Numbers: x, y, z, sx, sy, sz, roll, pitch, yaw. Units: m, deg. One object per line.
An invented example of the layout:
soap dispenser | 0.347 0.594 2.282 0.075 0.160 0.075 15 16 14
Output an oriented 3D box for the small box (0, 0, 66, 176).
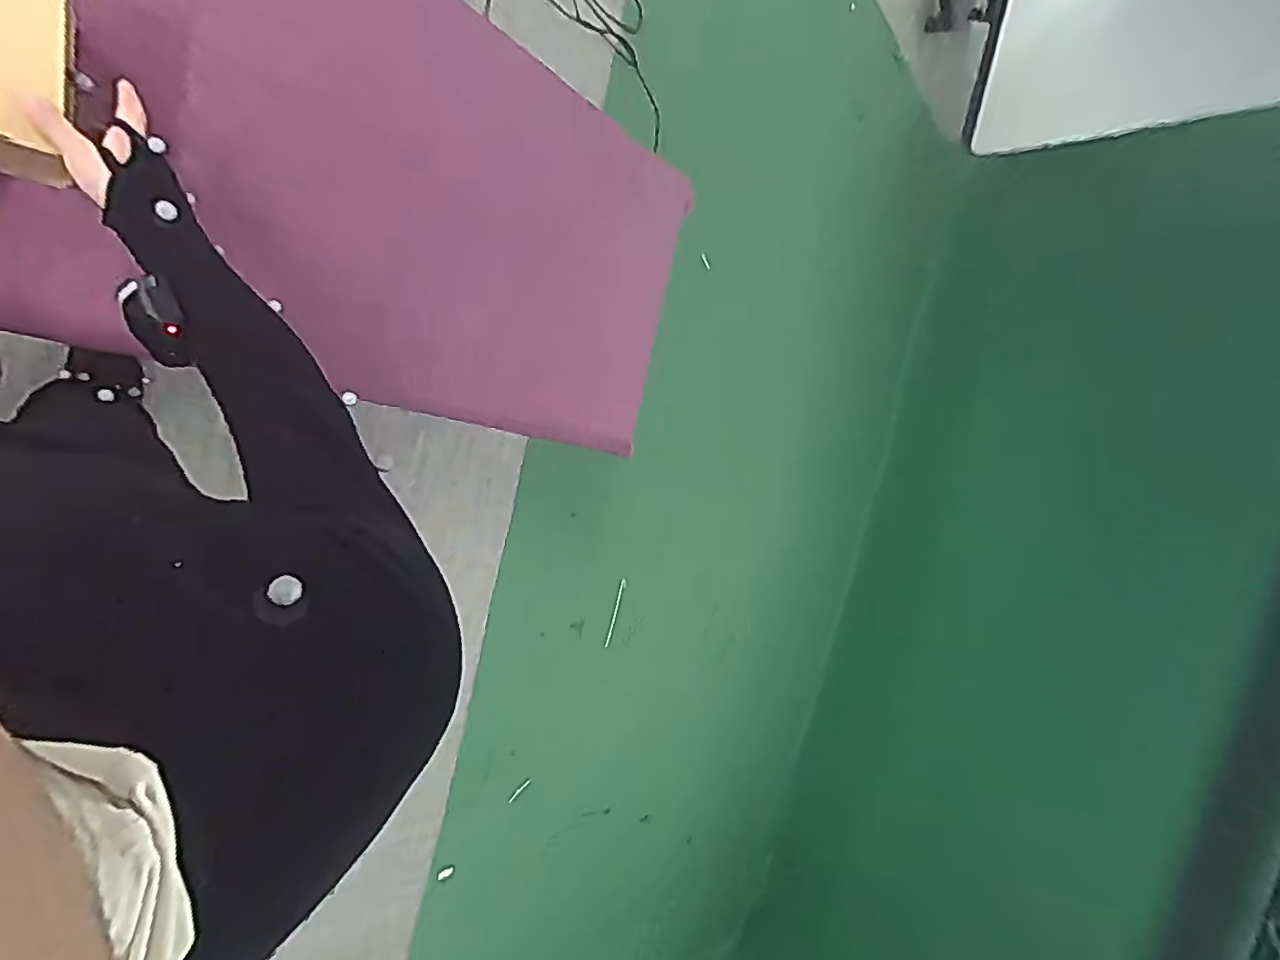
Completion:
small box | -0.614 -0.393 0.461 0.168 0.176 0.179 1 102 -46
